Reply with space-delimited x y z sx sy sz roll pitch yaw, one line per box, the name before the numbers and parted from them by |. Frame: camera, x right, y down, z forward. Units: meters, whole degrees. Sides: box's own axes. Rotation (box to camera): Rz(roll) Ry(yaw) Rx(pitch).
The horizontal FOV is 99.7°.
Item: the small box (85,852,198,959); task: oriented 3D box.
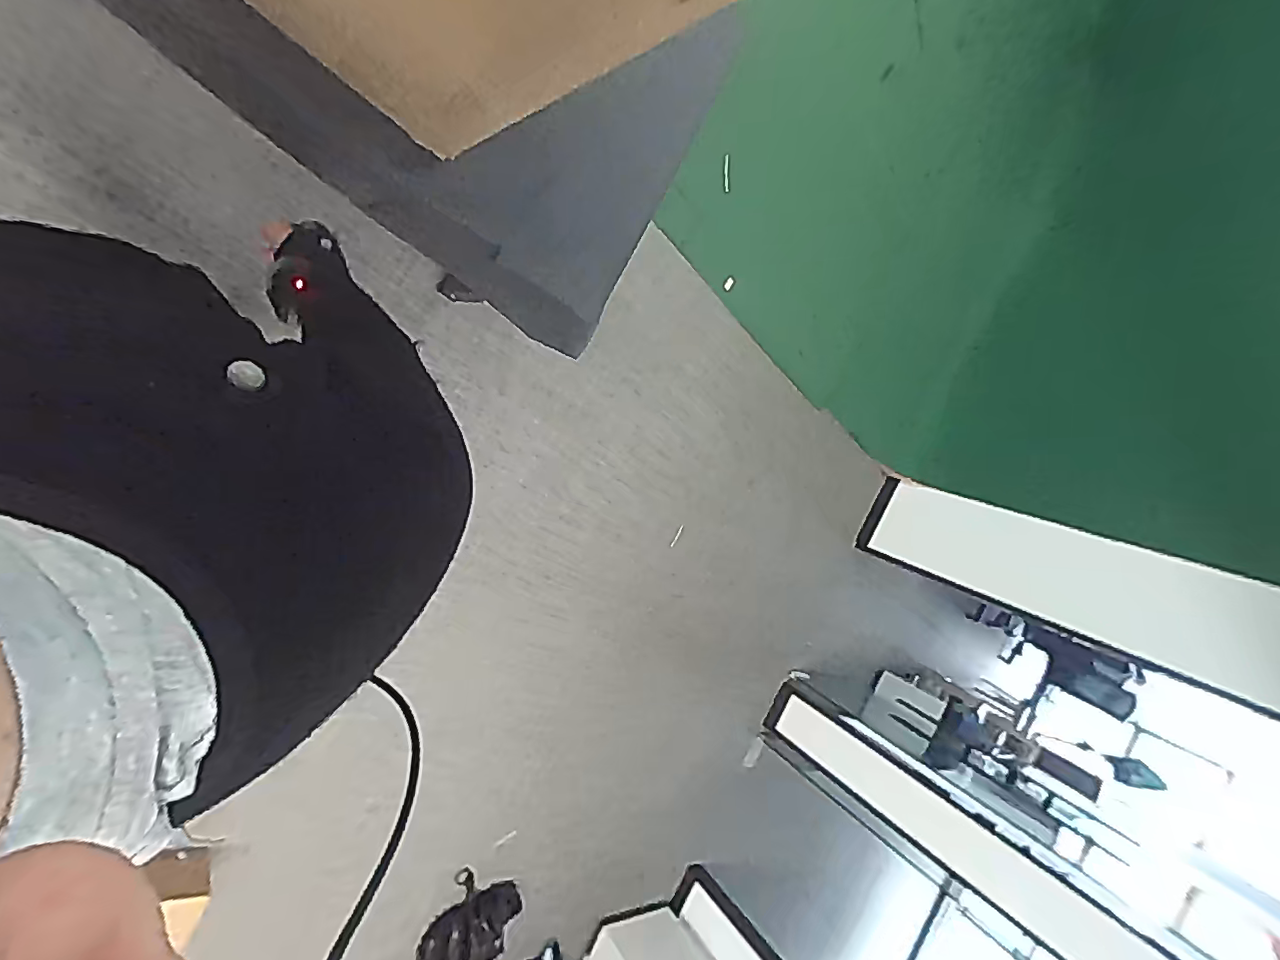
small box | -1.273 1.104 1.386 0.168 0.176 0.179 29 86 -44
